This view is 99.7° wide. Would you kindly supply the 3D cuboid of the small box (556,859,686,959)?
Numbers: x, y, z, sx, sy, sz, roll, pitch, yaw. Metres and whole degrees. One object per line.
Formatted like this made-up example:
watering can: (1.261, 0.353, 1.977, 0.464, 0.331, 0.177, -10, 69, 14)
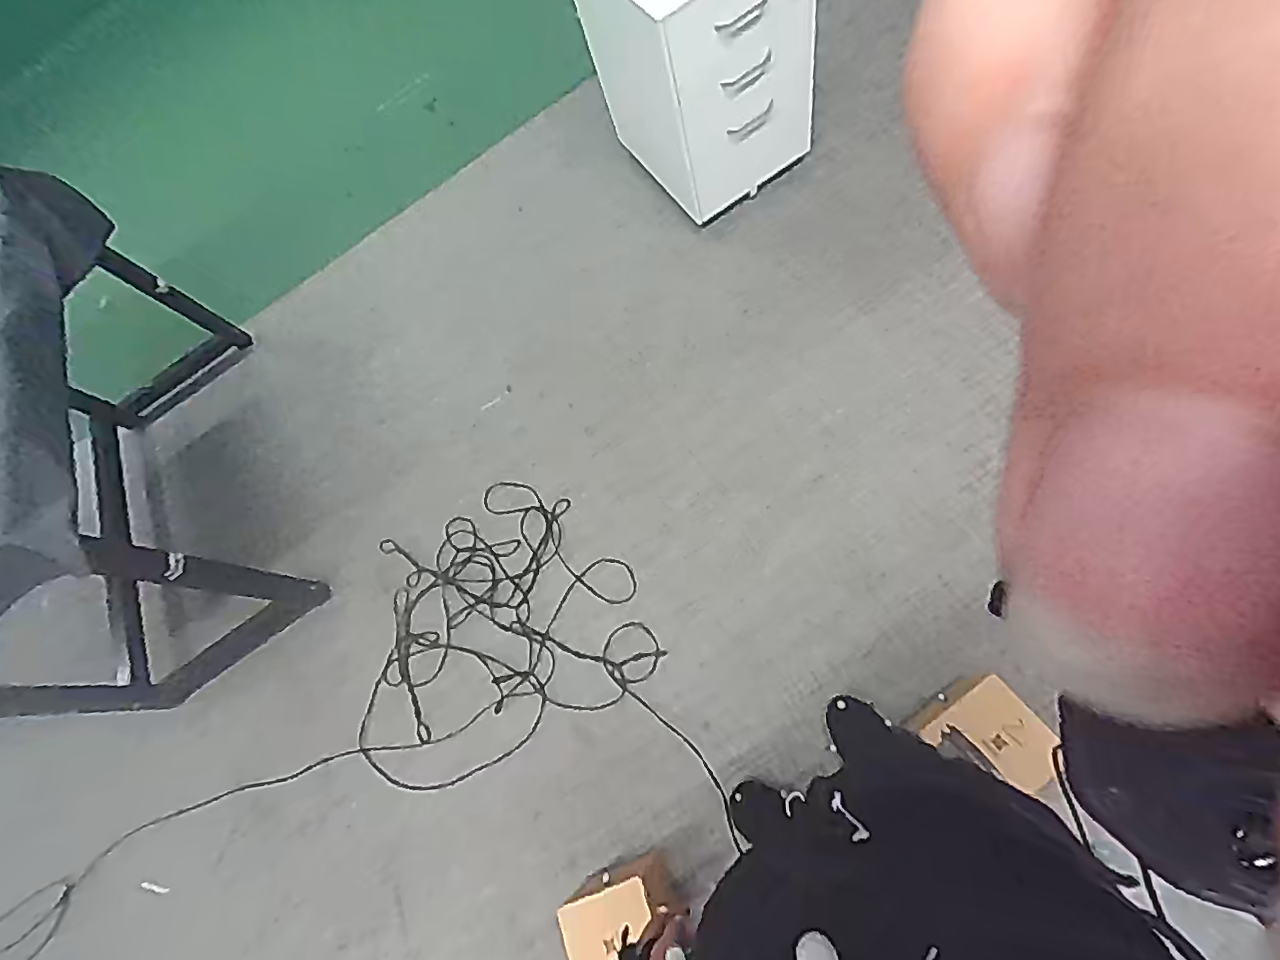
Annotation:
small box: (-0.030, 0.857, 1.024, 0.179, 0.176, 0.168, -25, 65, 4)
